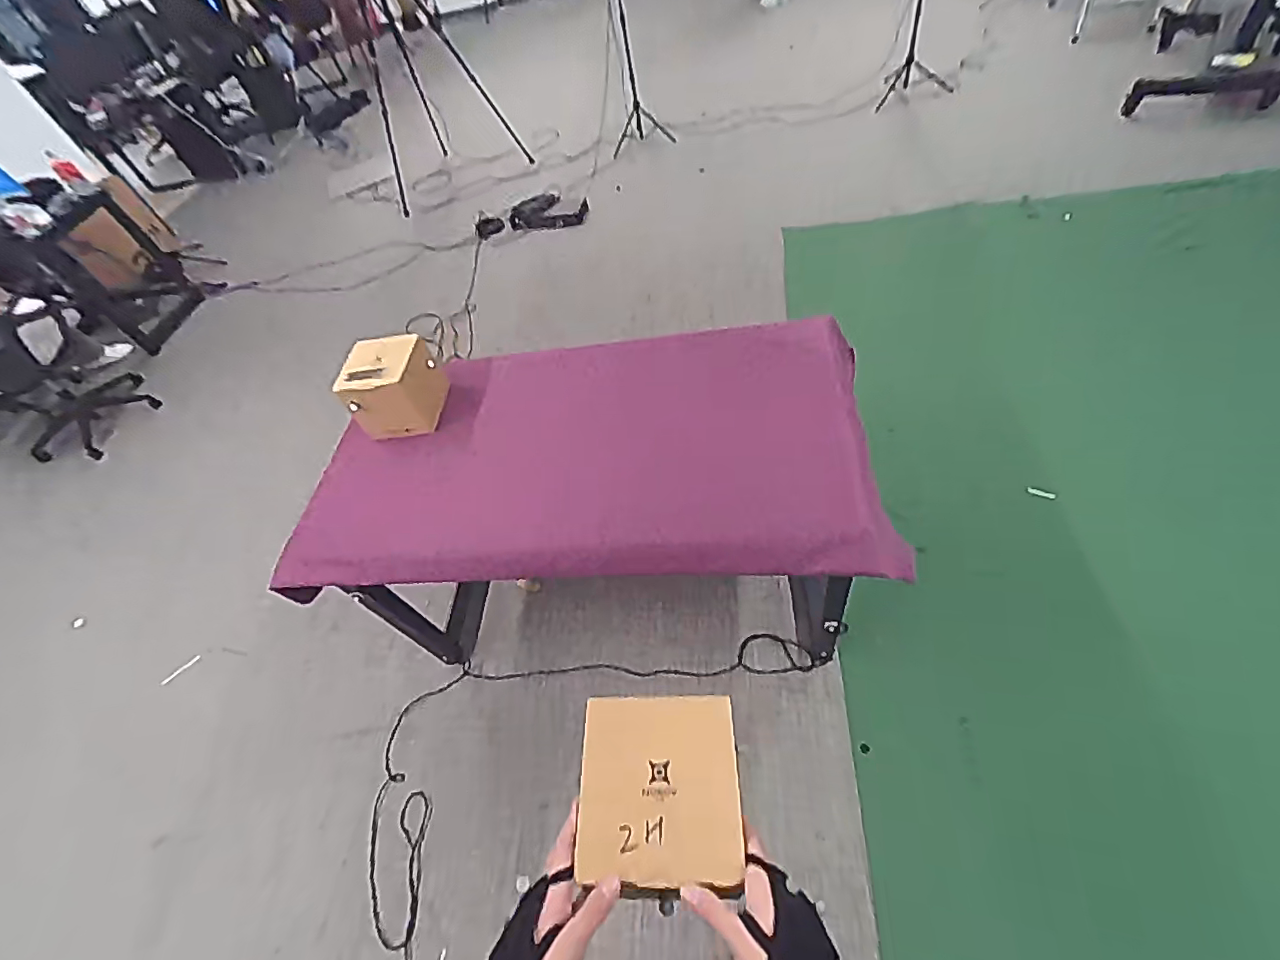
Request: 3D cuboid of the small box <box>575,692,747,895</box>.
[{"bbox_3d":[0.027,0.362,0.623,0.168,0.176,0.179,-3,50,4],"label":"small box"}]
